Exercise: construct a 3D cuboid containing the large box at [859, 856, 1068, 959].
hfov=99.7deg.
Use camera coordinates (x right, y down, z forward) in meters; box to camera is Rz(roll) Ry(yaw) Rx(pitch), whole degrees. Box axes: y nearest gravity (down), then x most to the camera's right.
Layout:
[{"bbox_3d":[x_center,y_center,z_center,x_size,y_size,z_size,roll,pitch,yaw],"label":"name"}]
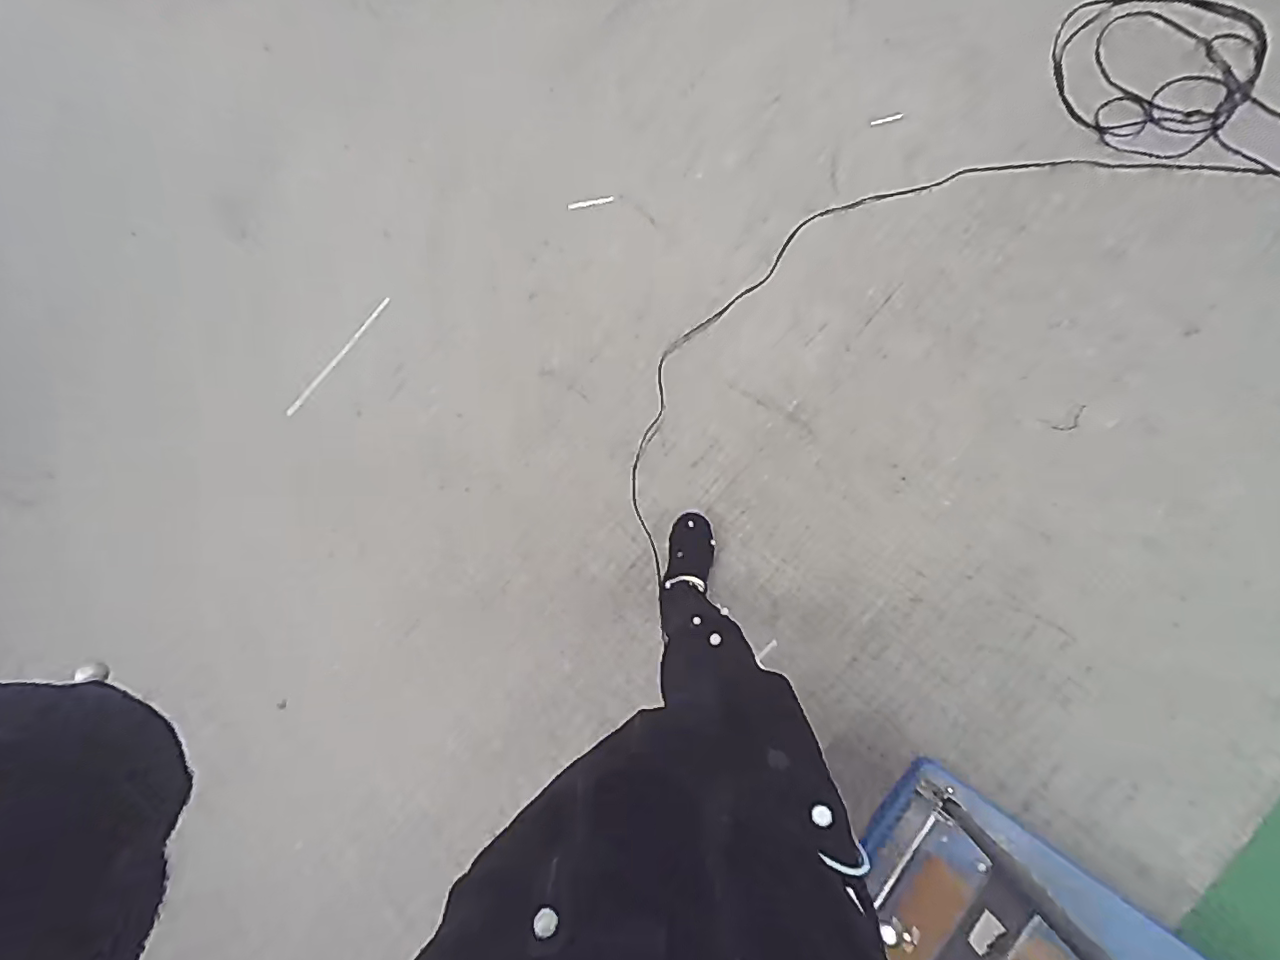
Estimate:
[{"bbox_3d":[0.629,0.956,0.900,0.408,0.320,0.320,34,87,12],"label":"large box"}]
